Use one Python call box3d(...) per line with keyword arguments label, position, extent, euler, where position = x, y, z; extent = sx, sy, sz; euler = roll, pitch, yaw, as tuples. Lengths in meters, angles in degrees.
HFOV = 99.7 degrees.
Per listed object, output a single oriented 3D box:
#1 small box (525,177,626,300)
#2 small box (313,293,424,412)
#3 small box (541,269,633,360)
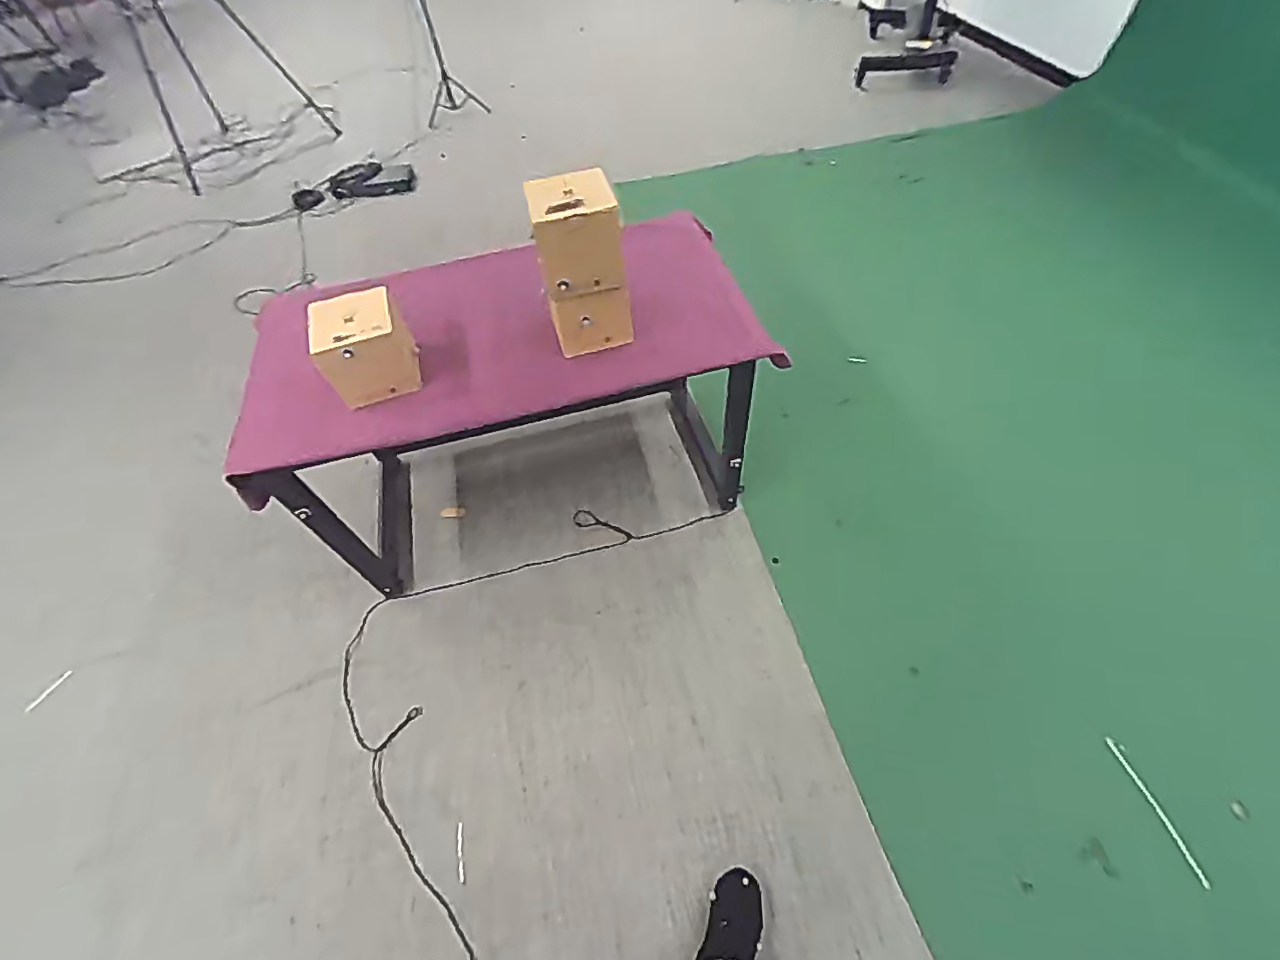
box3d(label="small box", position=(-0.130, -0.490, 1.118), extent=(0.168, 0.176, 0.179), euler=(-13, 52, -4))
box3d(label="small box", position=(-0.601, -0.283, 1.209), extent=(0.168, 0.176, 0.179), euler=(-19, 55, -8))
box3d(label="small box", position=(-0.120, -0.400, 1.255), extent=(0.168, 0.176, 0.179), euler=(-16, 53, -6))
